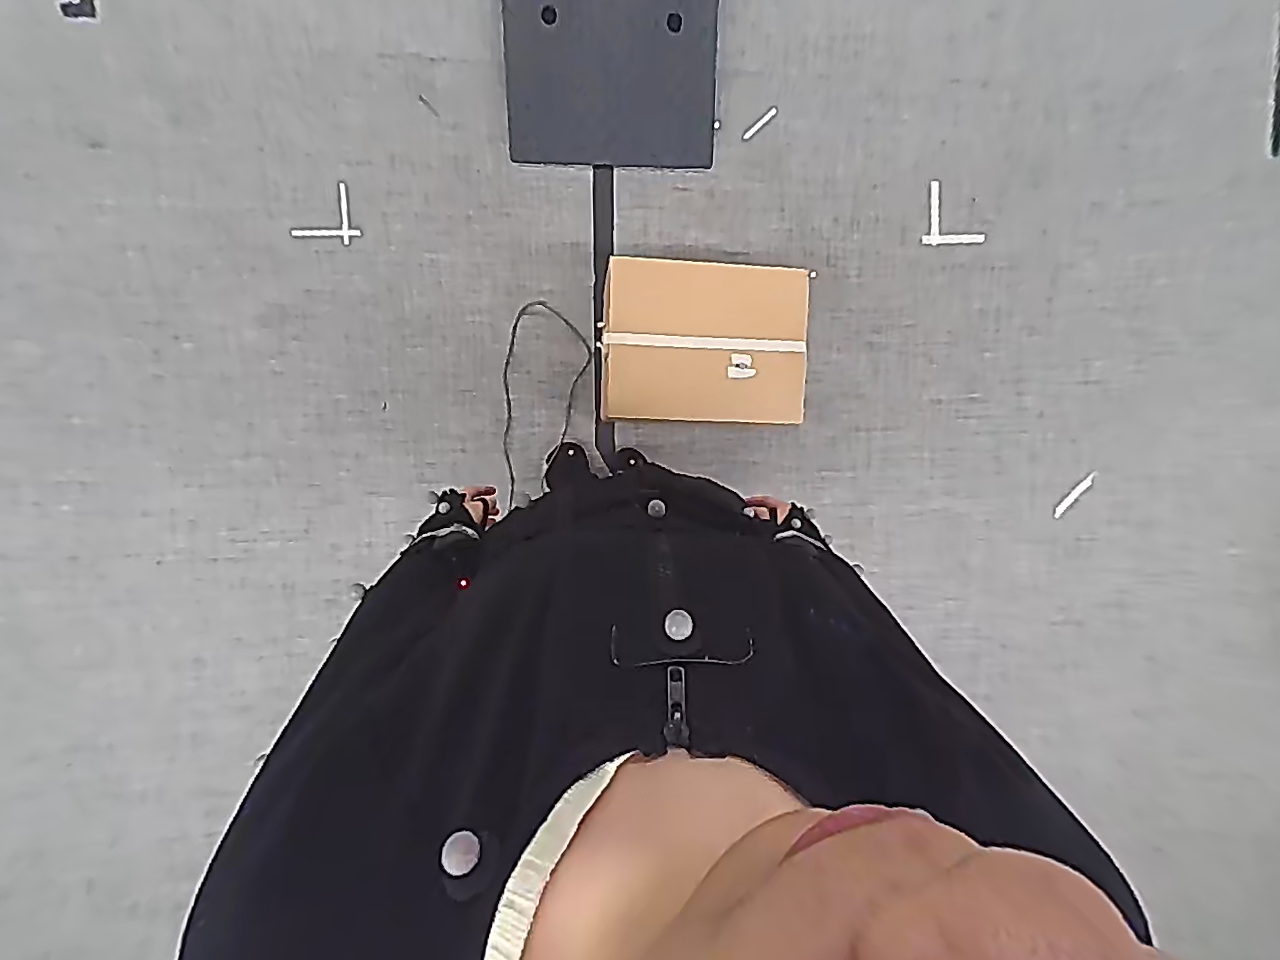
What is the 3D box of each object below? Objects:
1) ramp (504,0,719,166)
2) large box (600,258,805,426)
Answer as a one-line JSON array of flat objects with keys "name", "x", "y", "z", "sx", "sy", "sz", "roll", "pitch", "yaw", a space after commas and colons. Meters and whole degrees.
[{"name": "ramp", "x": -0.057, "y": -1.248, "z": 1.177, "sx": 0.509, "sy": 0.206, "sz": 0.991, "roll": -3, "pitch": 96, "yaw": -7}, {"name": "large box", "x": 0.116, "y": -0.284, "z": 1.225, "sx": 0.408, "sy": 0.320, "sz": 0.320, "roll": 1, "pitch": 95, "yaw": -7}]
